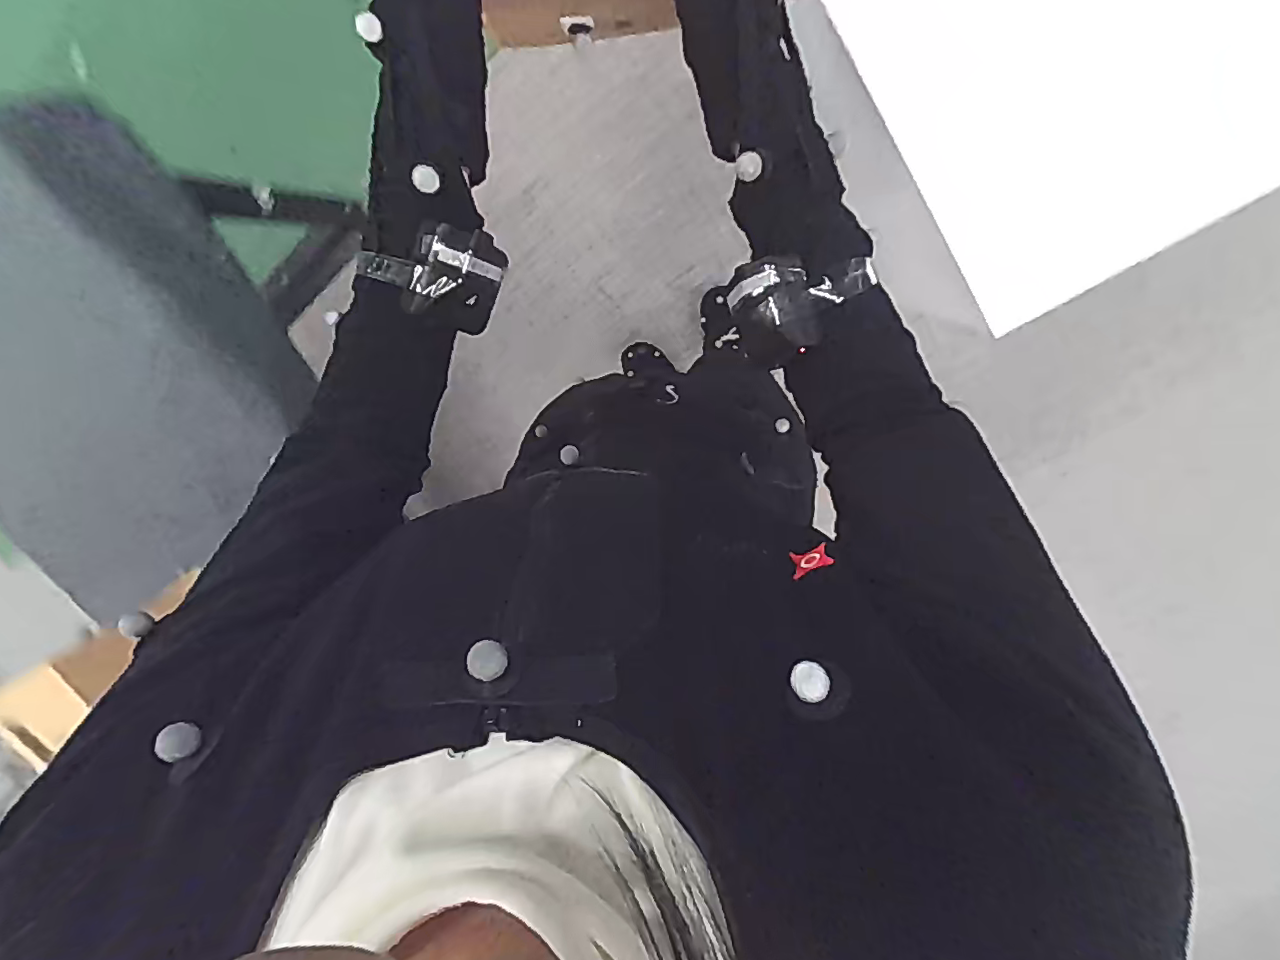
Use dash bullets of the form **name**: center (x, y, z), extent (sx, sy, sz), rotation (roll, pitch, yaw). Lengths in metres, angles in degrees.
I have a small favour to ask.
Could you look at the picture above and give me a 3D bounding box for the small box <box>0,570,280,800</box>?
- **small box**: center (-0.586, 0.238, 0.648), extent (0.179, 0.176, 0.168), rotation (-28, 102, 24)
